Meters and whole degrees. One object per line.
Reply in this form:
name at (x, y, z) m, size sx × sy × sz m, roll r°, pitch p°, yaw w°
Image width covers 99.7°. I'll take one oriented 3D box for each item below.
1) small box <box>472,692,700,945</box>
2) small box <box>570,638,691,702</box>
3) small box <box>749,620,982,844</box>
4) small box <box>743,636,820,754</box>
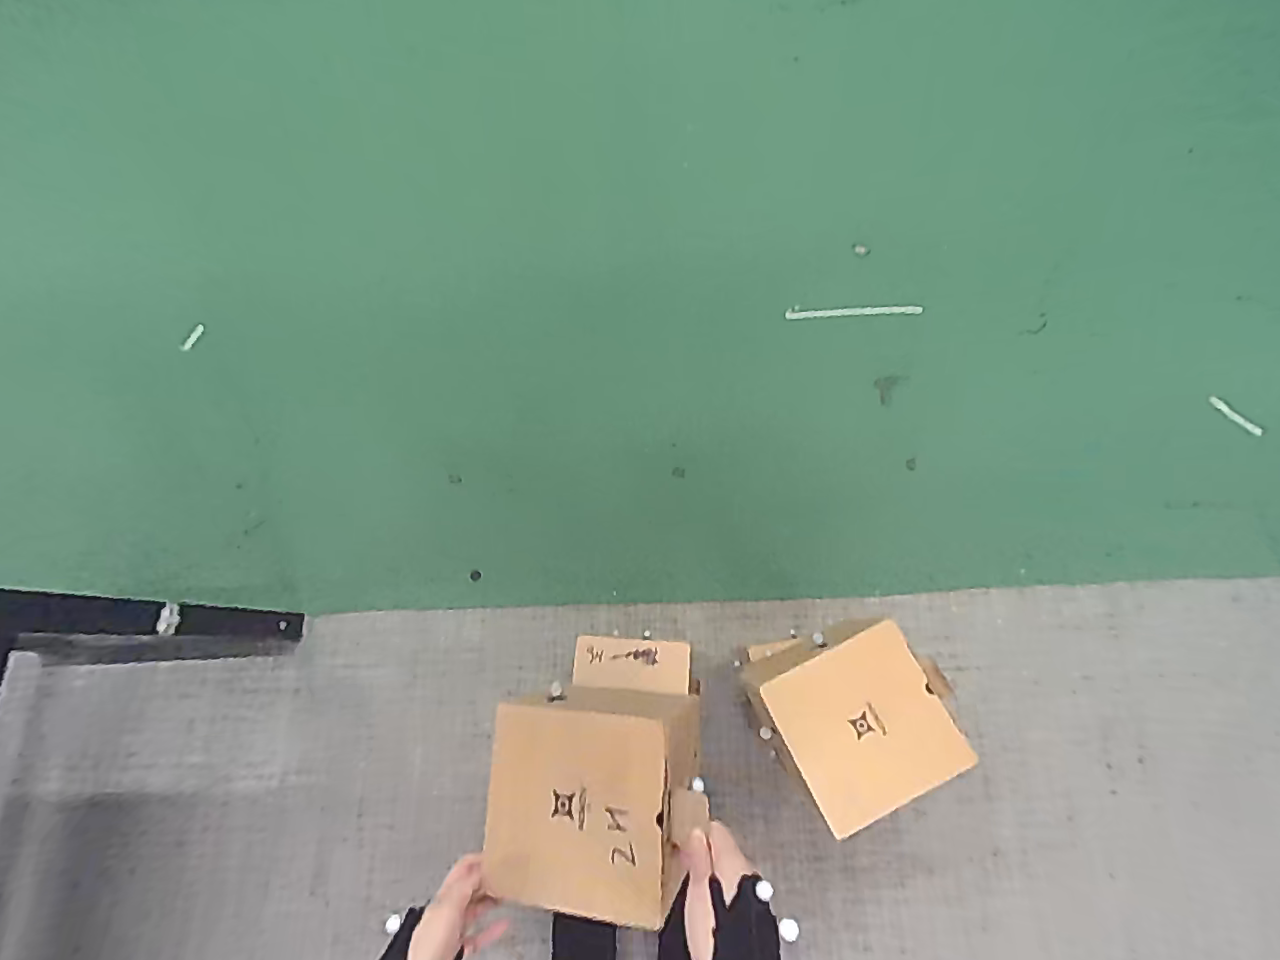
small box at (-0.041, 0.315, 0.549) m, size 0.179 × 0.176 × 0.168 m, roll -2°, pitch 76°, yaw 15°
small box at (-0.010, 0.335, 0.810) m, size 0.168 × 0.176 × 0.179 m, roll 3°, pitch 73°, yaw 5°
small box at (0.243, 0.283, 0.642) m, size 0.179 × 0.176 × 0.168 m, roll -26°, pitch 74°, yaw -5°
small box at (0.284, 0.370, 0.954) m, size 0.179 × 0.176 × 0.168 m, roll -9°, pitch 73°, yaw 0°
